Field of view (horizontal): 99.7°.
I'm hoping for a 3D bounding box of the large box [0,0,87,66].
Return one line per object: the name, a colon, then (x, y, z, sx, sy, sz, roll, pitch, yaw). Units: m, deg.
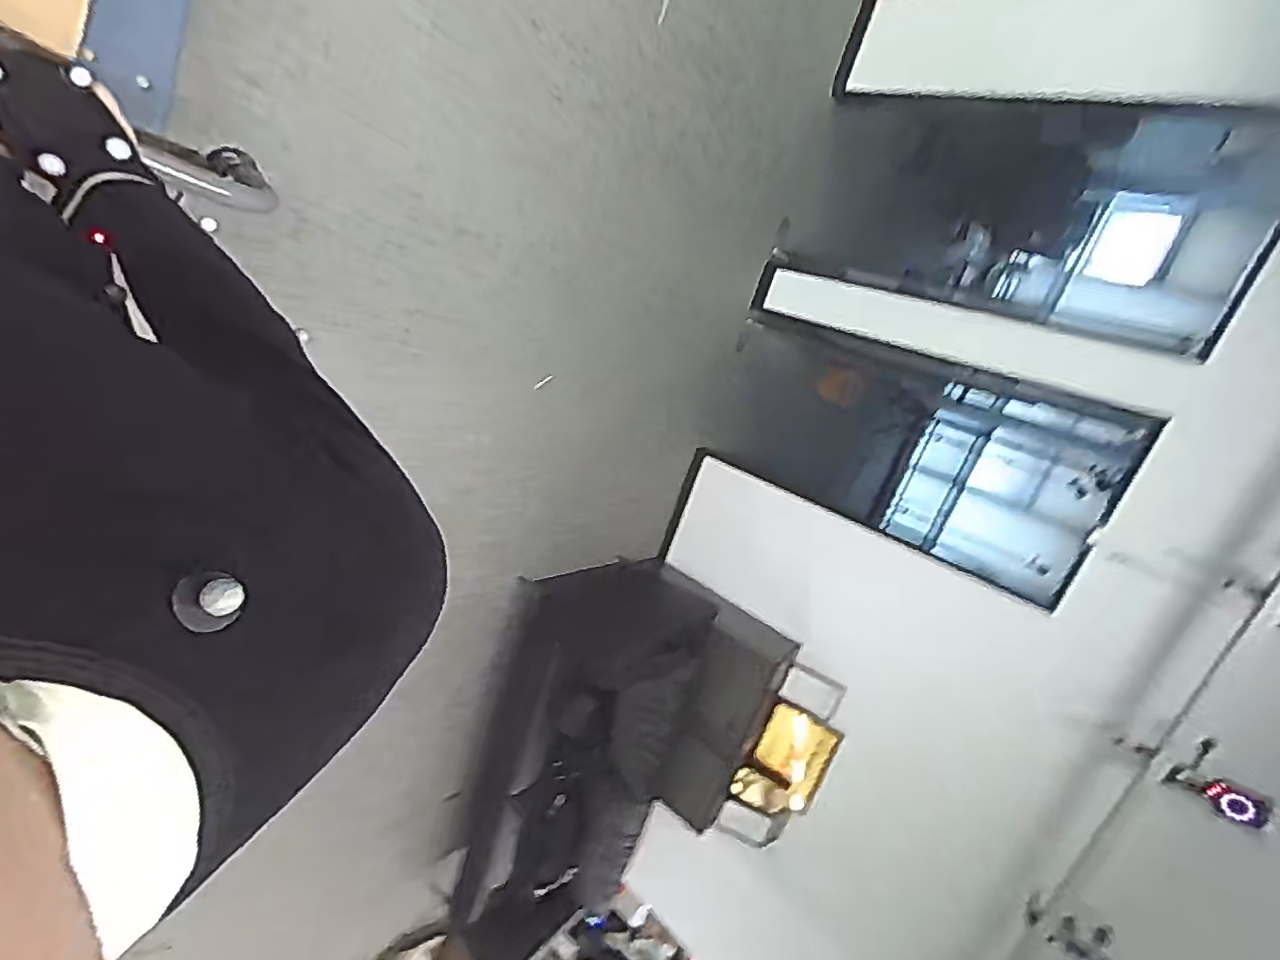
large box: (-0.883, -0.801, 0.639, 0.320, 0.320, 0.408, 7, 107, -57)
